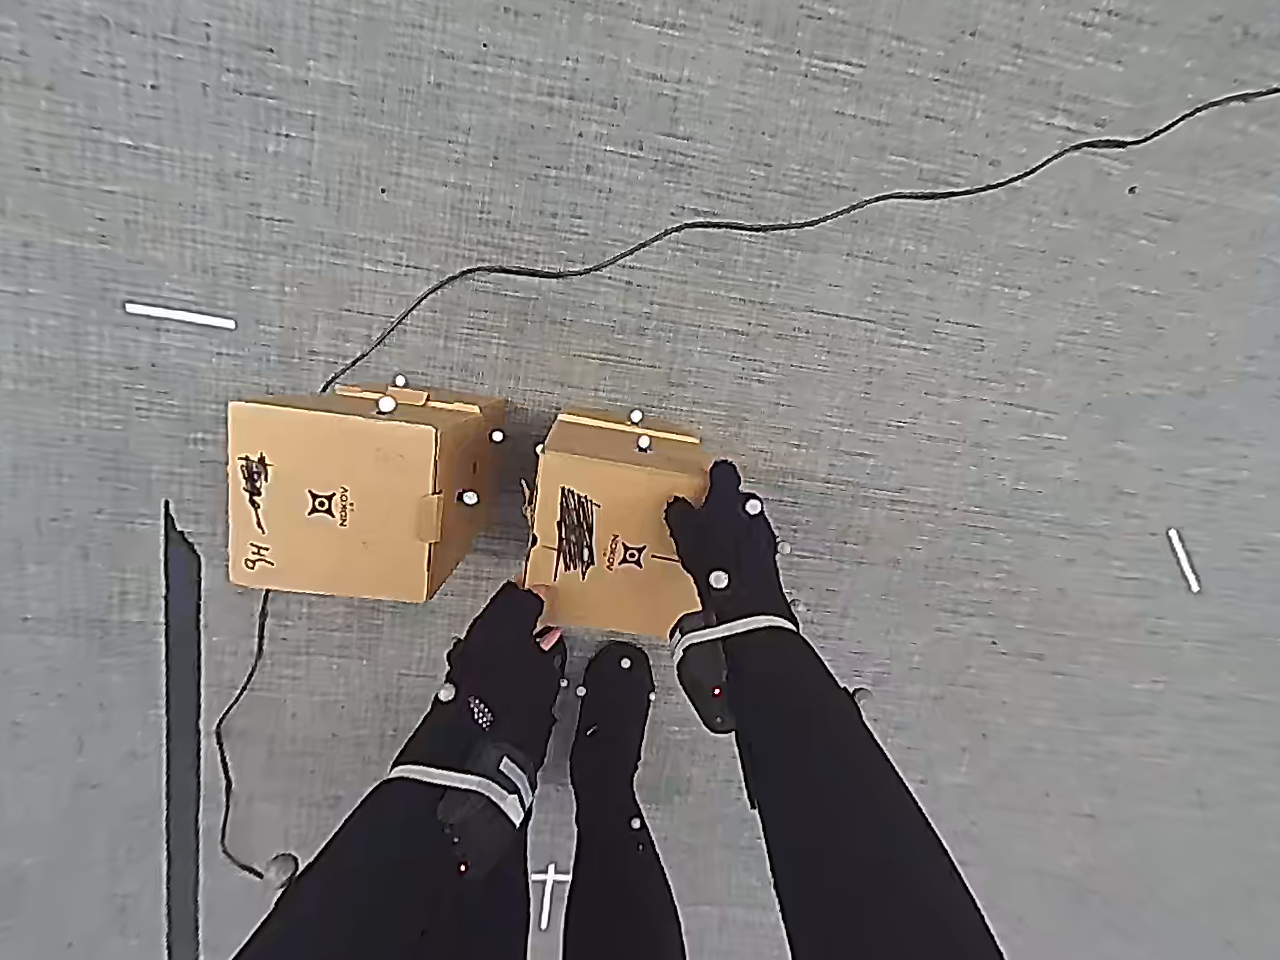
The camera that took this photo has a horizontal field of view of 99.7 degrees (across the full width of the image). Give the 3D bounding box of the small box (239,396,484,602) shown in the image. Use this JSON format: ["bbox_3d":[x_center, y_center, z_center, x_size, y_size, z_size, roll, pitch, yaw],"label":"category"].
[{"bbox_3d":[-0.267,0.008,0.555,0.179,0.176,0.168,8,100,-5],"label":"small box"}]

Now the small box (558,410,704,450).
[{"bbox_3d":[-0.028,0.001,0.740,0.179,0.176,0.168,10,100,-7],"label":"small box"}]

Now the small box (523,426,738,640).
[{"bbox_3d":[-0.016,0.044,0.576,0.179,0.176,0.168,9,105,-7],"label":"small box"}]

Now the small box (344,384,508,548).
[{"bbox_3d":[-0.276,-0.028,0.714,0.168,0.176,0.179,9,101,-5],"label":"small box"}]
